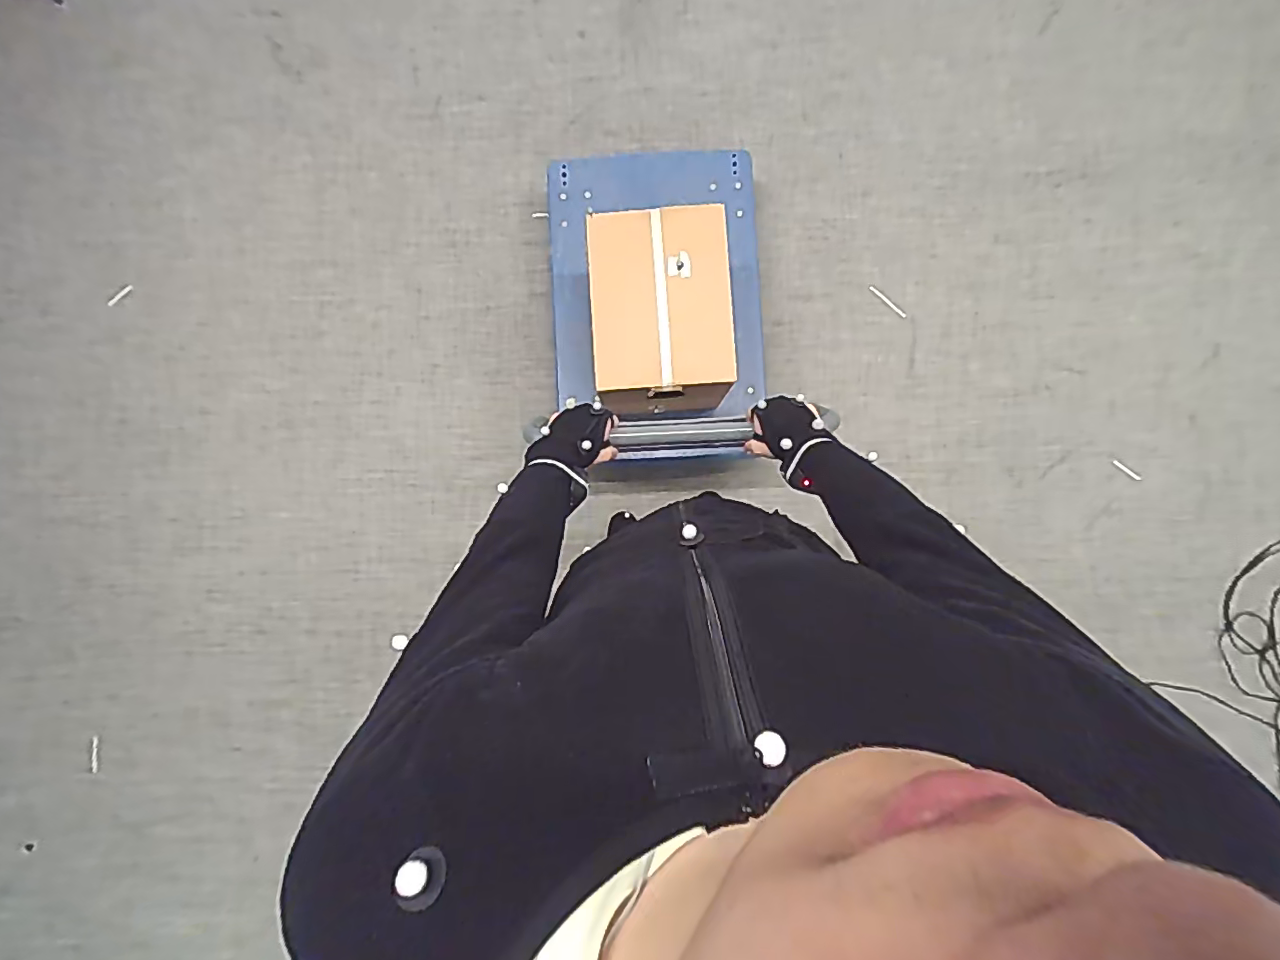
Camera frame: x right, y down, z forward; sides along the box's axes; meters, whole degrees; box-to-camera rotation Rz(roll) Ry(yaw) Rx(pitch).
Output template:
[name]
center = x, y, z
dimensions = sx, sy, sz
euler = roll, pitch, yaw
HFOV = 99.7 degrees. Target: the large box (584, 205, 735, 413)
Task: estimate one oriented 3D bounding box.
[large box]
center = 0.046, -0.400, 1.353
dimensions = 0.320, 0.320, 0.408
euler = -4, 87, 1
